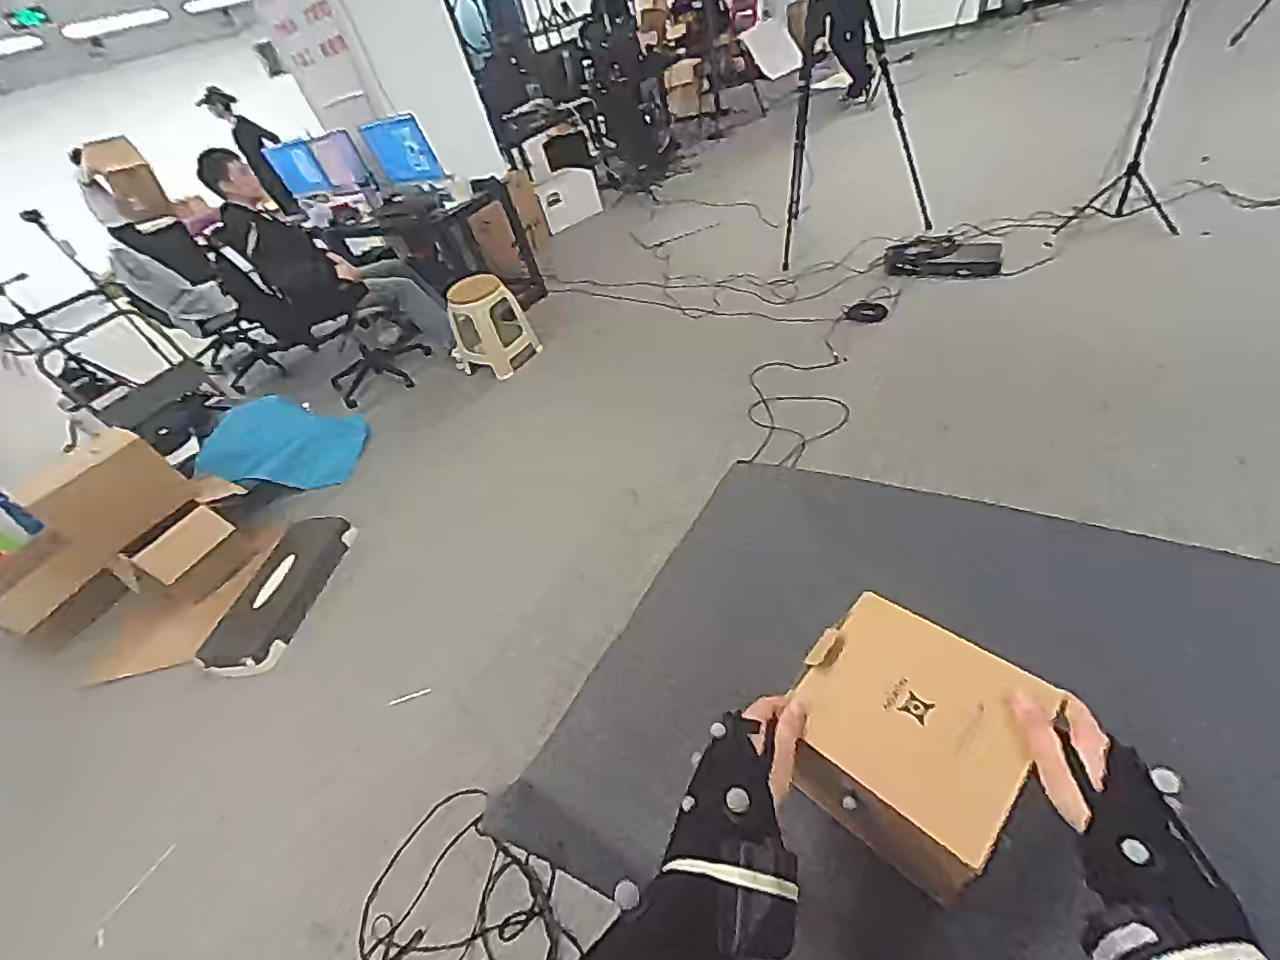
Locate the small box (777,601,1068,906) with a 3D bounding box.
[{"bbox_3d":[0.253,0.257,0.514,0.179,0.176,0.168,28,60,38],"label":"small box"}]
